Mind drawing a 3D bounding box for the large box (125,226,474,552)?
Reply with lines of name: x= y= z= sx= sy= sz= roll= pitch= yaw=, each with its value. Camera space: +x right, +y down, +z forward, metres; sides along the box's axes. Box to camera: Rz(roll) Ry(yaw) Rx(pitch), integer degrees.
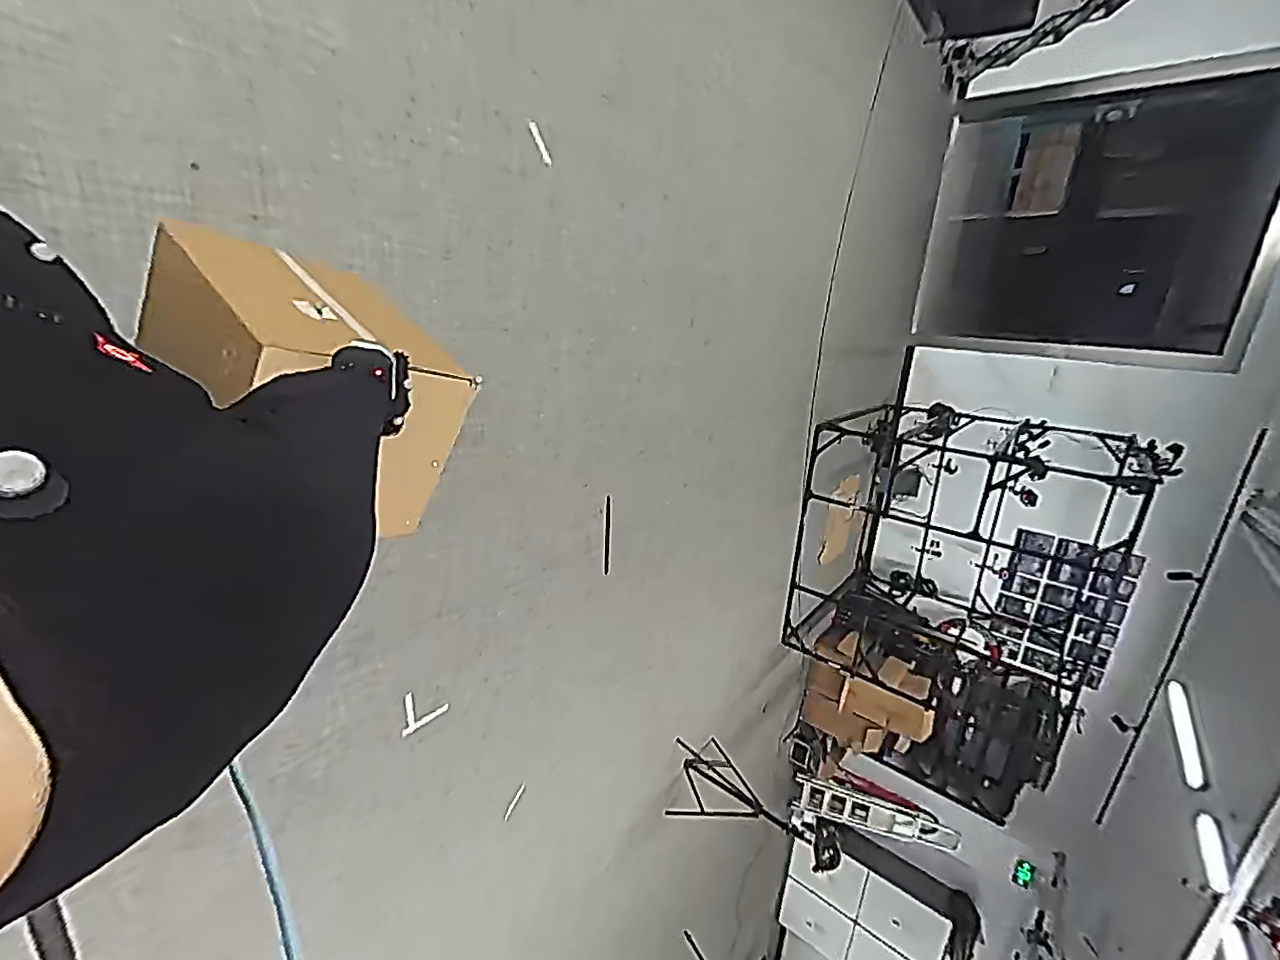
large box: x=-0.561 y=-0.140 z=0.887 sx=0.320 sy=0.408 sz=0.320 roll=-3 pitch=128 yaw=-57
